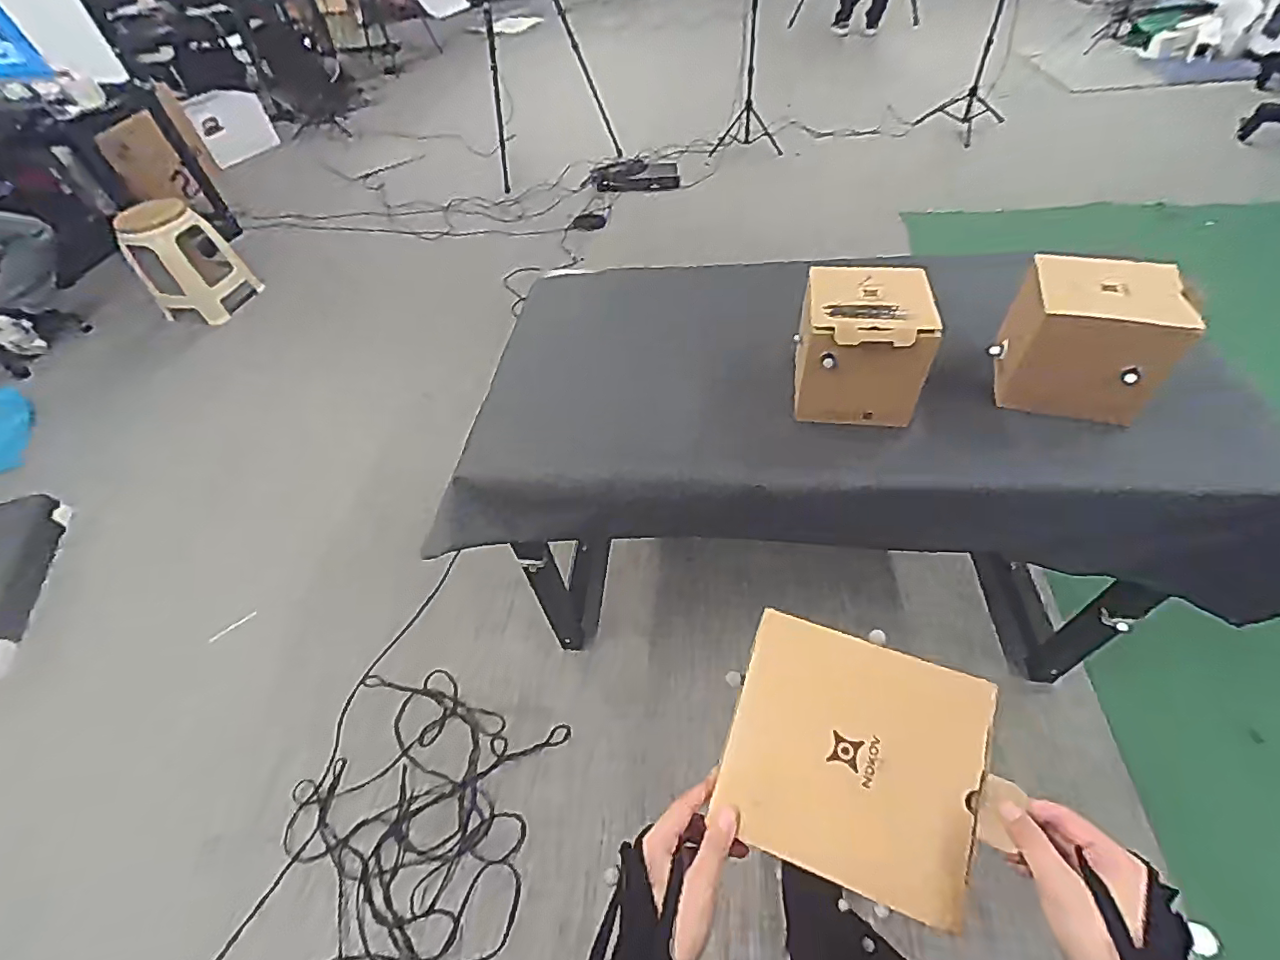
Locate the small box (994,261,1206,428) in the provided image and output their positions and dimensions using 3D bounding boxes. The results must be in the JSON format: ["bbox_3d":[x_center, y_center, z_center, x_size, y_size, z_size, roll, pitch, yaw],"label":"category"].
[{"bbox_3d":[0.655,-0.197,0.798,0.179,0.176,0.168,12,51,17],"label":"small box"}]
